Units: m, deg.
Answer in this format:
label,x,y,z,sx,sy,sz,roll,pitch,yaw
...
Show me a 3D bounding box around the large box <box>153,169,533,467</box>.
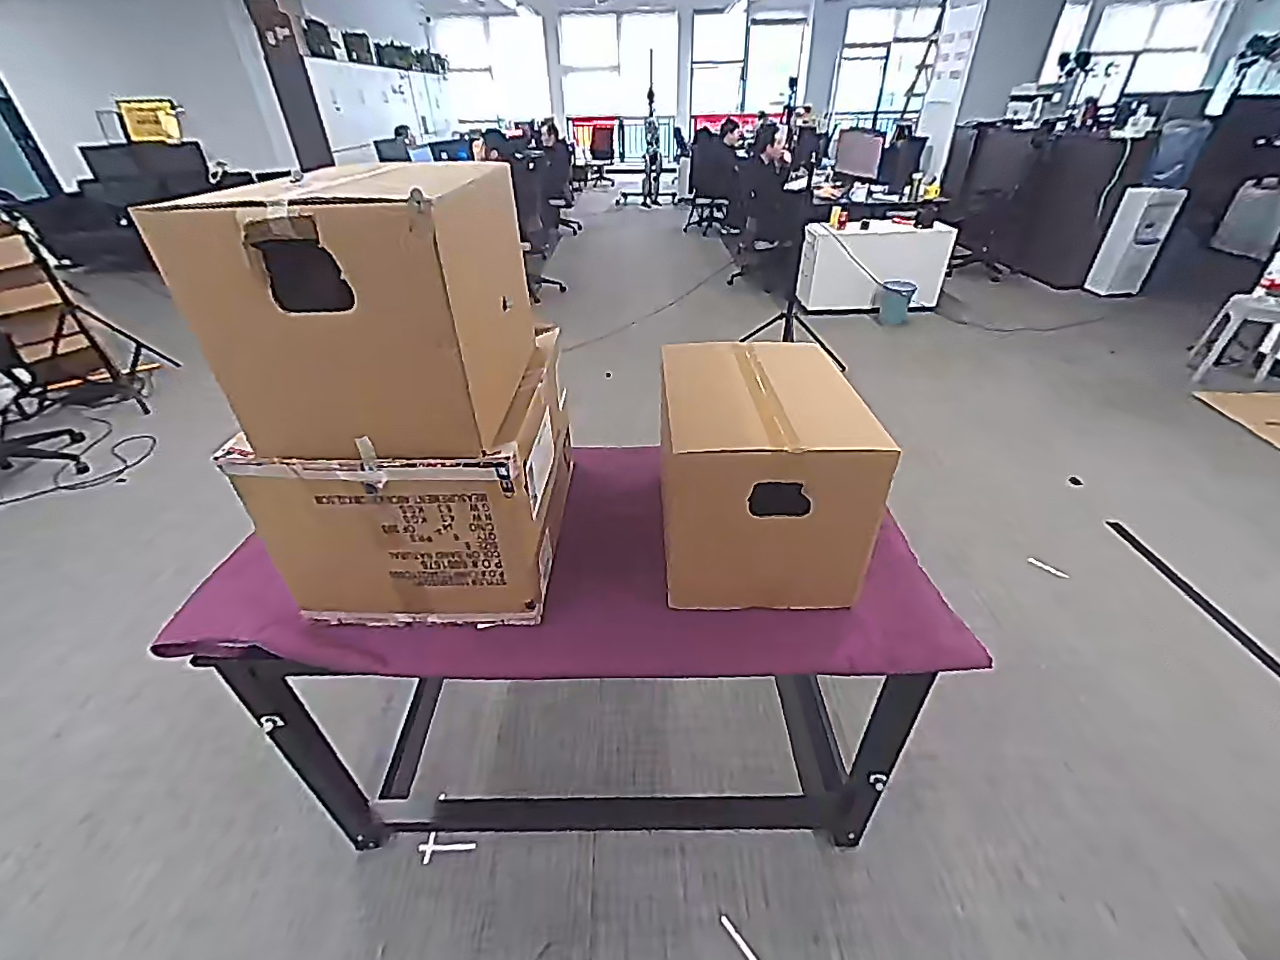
label,x,y,z,sx,sy,sz,roll,pitch,yaw
large box,-0.351,-0.259,0.798,0.320,0.320,0.408,-3,35,1
